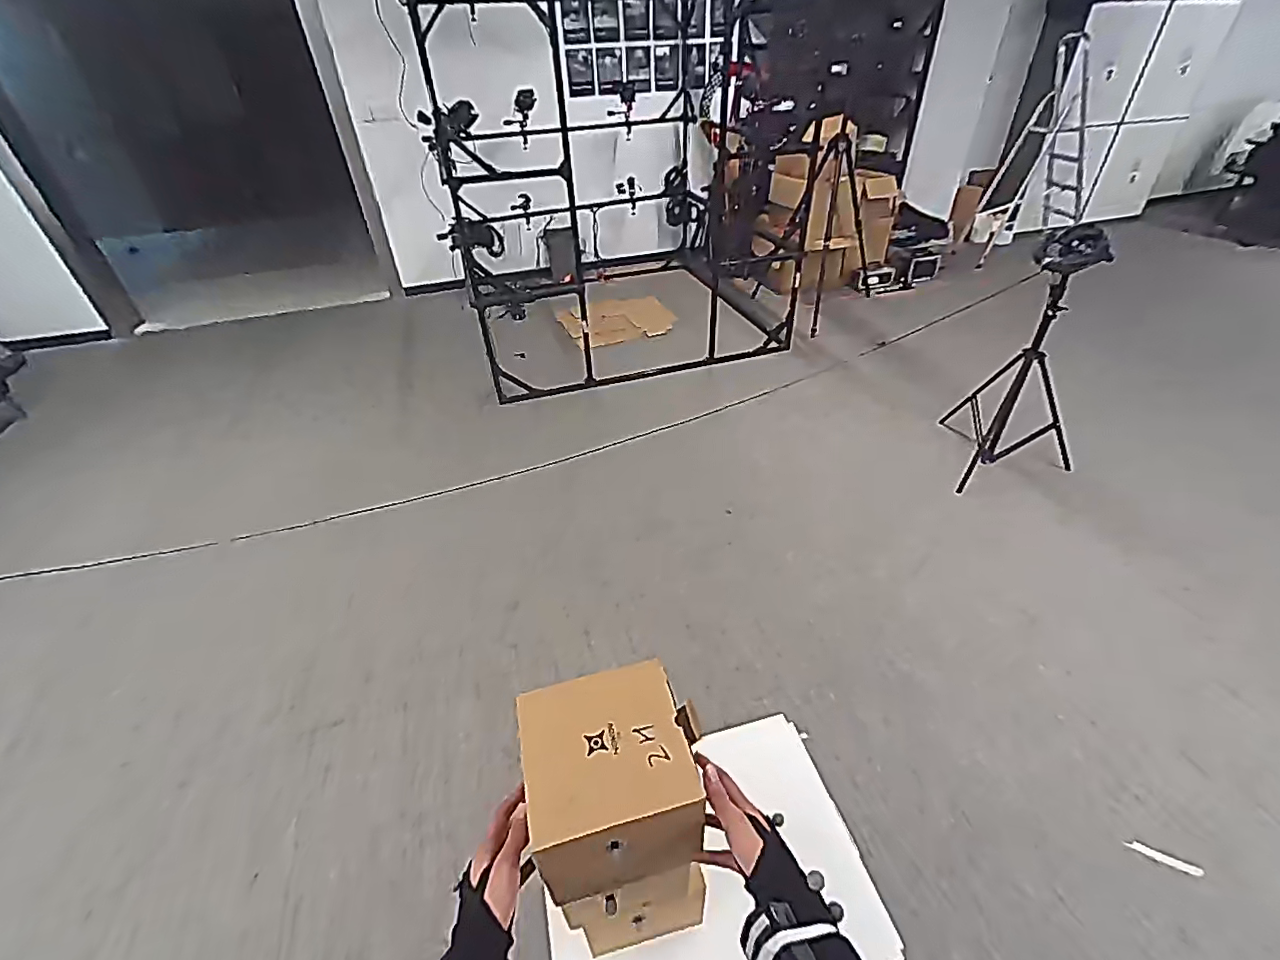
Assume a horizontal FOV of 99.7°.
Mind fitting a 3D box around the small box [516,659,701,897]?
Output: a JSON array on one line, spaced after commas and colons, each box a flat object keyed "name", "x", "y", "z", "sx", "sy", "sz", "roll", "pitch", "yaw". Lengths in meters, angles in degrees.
[{"name": "small box", "x": -0.037, "y": 0.341, "z": 0.623, "sx": 0.179, "sy": 0.176, "sz": 0.168, "roll": -11, "pitch": 39, "yaw": -10}]

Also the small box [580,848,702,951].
[{"name": "small box", "x": -0.011, "y": 0.588, "z": 0.837, "sx": 0.179, "sy": 0.176, "sz": 0.168, "roll": -9, "pitch": 38, "yaw": -10}]

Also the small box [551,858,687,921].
[{"name": "small box", "x": -0.034, "y": 0.463, "z": 0.734, "sx": 0.168, "sy": 0.176, "sz": 0.179, "roll": -9, "pitch": 38, "yaw": -8}]
